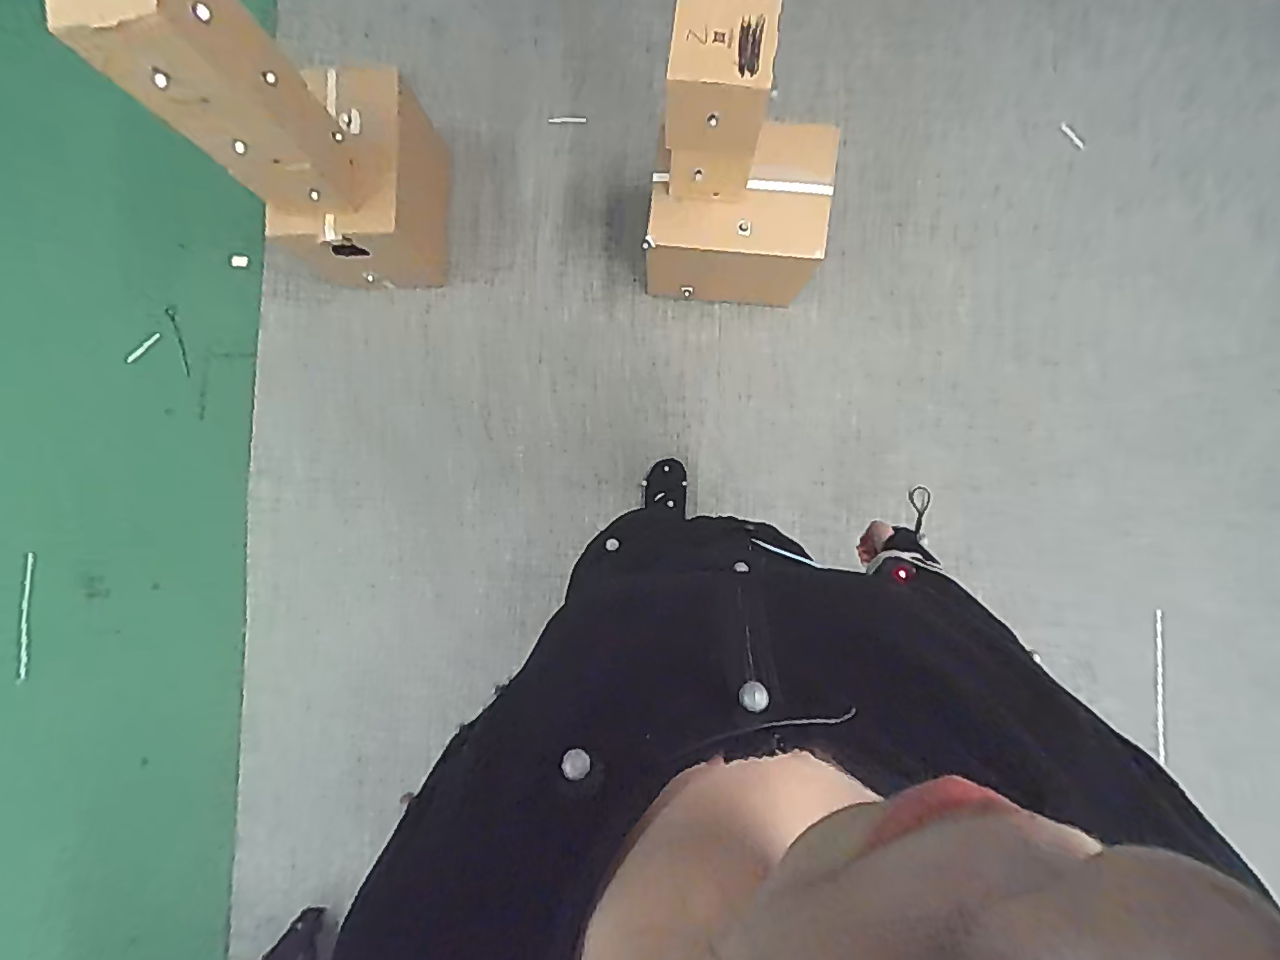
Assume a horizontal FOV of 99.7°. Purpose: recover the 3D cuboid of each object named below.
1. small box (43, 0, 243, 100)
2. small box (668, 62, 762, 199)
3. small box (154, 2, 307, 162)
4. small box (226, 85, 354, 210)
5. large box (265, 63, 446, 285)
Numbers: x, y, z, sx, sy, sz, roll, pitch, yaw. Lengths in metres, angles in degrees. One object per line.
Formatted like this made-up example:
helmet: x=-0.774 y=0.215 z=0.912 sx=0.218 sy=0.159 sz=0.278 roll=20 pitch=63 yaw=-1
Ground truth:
small box: x=-0.751 y=-0.723 z=0.833 sx=0.168 sy=0.176 sz=0.179 roll=-3 pitch=88 yaw=2
small box: x=0.150 y=-0.720 z=1.131 sx=0.168 sy=0.176 sz=0.179 roll=7 pitch=86 yaw=2
small box: x=-0.746 y=-0.718 z=0.998 sx=0.168 sy=0.176 sz=0.179 roll=-5 pitch=87 yaw=1
small box: x=-0.741 y=-0.704 z=1.161 sx=0.179 sy=0.176 sz=0.168 roll=-1 pitch=87 yaw=3
large box: x=-0.715 y=-0.765 z=1.407 sx=0.320 sy=0.320 sz=0.408 roll=0 pitch=87 yaw=2
